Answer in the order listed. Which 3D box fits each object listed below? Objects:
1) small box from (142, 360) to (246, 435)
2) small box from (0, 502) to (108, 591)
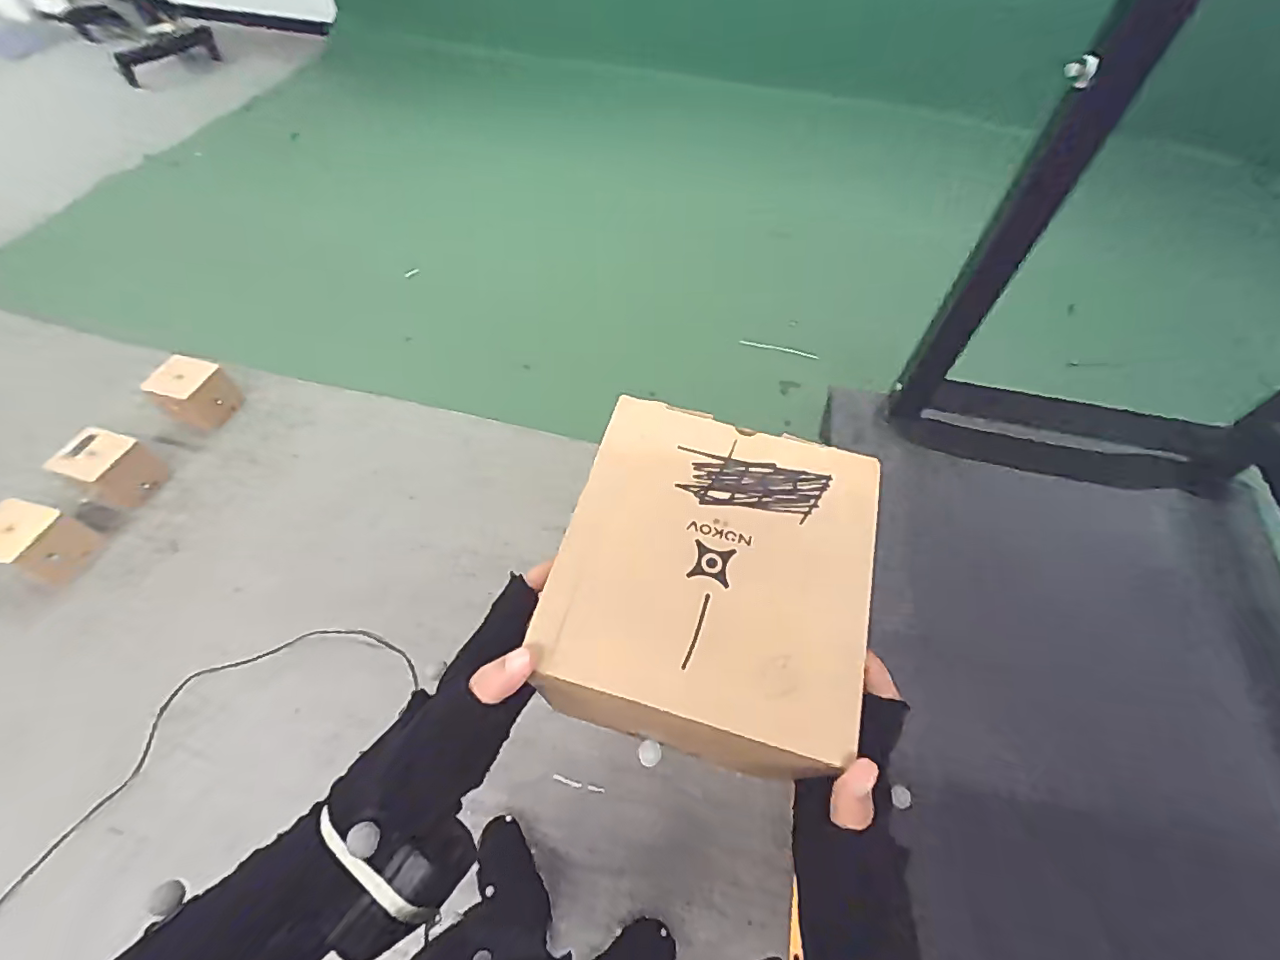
[{"bbox_3d":[-1.484,-0.272,1.816,0.179,0.176,0.168,13,55,6],"label":"small box"},{"bbox_3d":[-1.647,0.187,1.484,0.179,0.176,0.168,12,56,6],"label":"small box"}]
